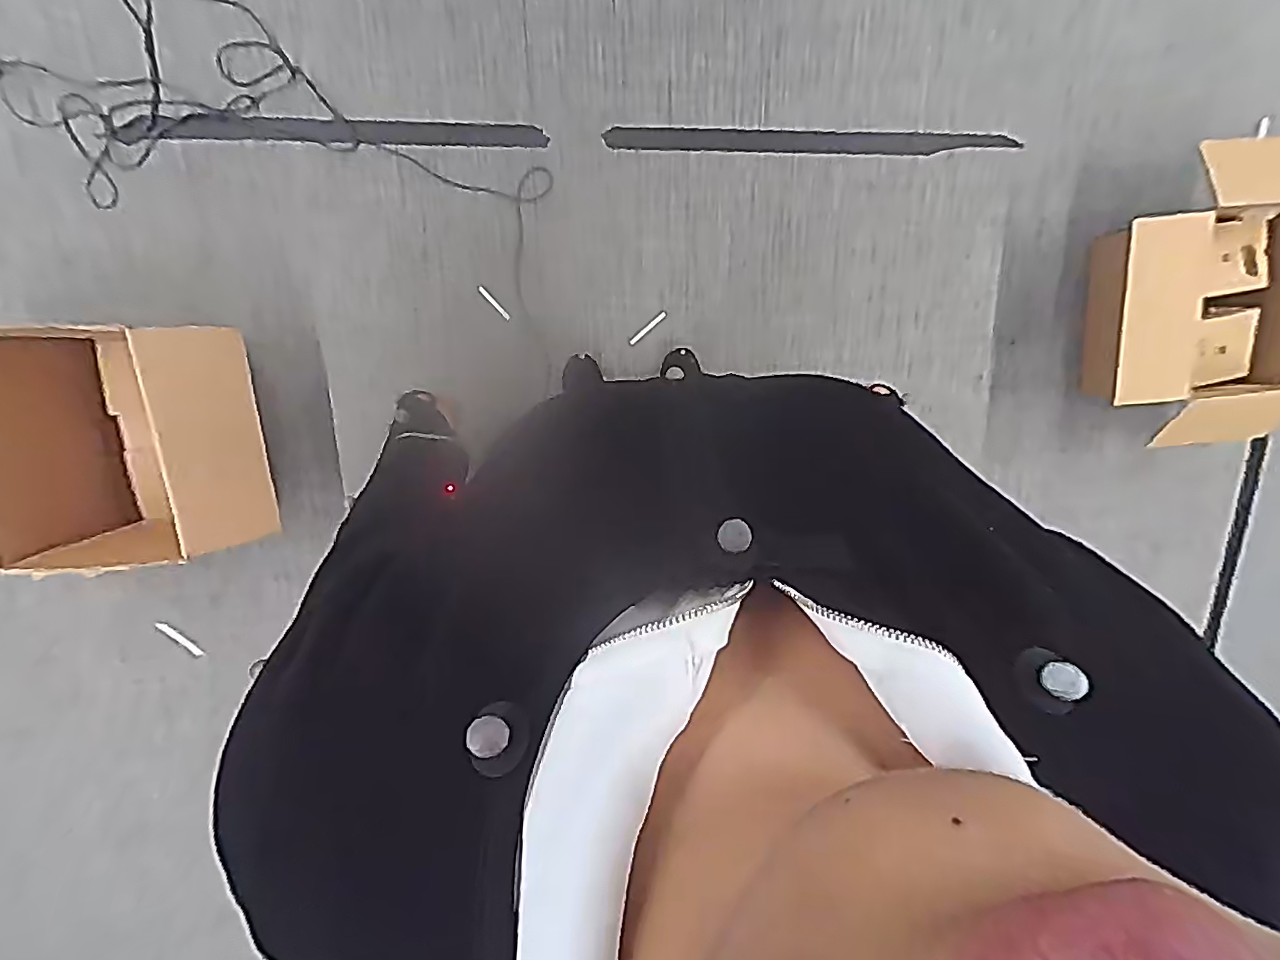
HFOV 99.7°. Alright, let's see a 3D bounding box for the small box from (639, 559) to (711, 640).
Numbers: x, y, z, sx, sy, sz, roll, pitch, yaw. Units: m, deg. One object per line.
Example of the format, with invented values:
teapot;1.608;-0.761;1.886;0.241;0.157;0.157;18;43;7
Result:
small box;0.089;0.315;1.453;0.179;0.176;0.168;0;100;-1
